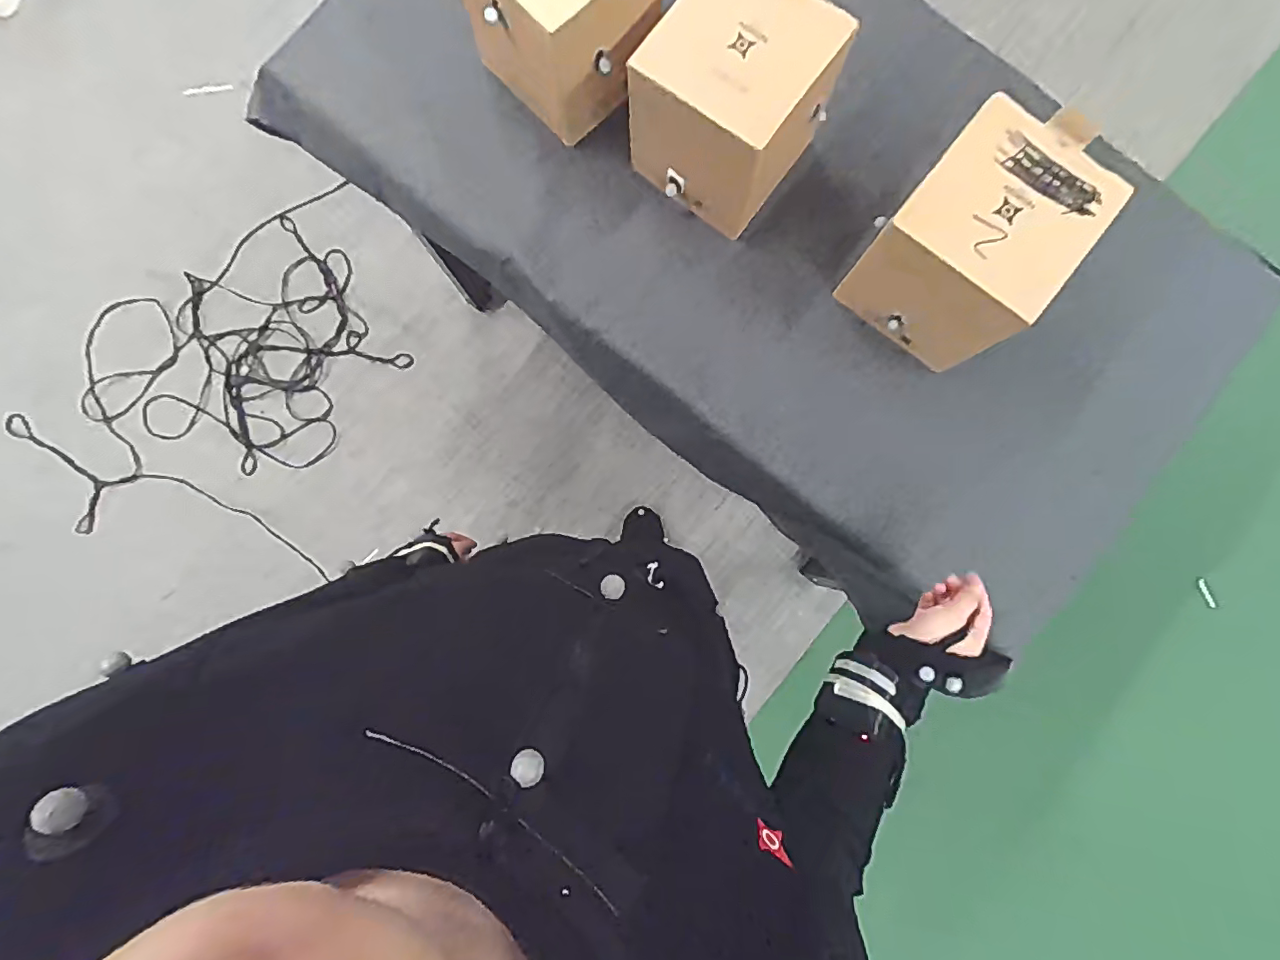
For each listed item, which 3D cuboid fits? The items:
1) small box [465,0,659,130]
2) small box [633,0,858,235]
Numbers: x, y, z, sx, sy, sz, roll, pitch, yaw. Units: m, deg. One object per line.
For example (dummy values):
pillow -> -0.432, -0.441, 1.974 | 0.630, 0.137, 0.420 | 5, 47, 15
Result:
small box -> -0.088, -0.554, 0.626 | 0.168, 0.176, 0.179 | -44, 86, -4
small box -> 0.105, -0.428, 0.616 | 0.168, 0.176, 0.179 | 35, 85, 4
